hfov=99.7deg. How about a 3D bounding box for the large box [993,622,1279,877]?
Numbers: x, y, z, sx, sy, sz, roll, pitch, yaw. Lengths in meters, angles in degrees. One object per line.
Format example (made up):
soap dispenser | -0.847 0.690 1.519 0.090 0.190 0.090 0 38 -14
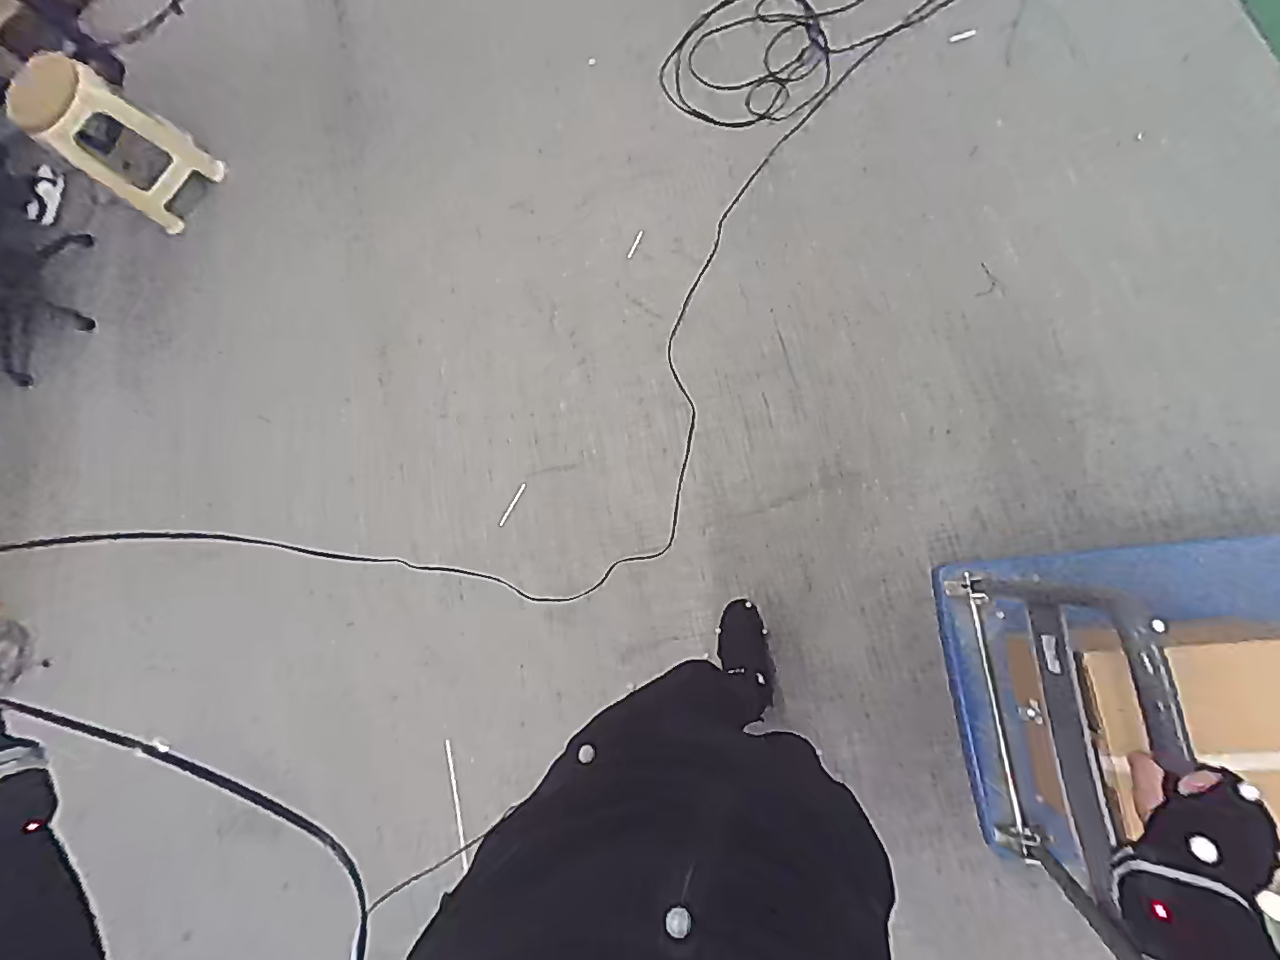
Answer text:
large box | 0.906 0.421 0.913 0.408 0.320 0.320 -8 78 12
